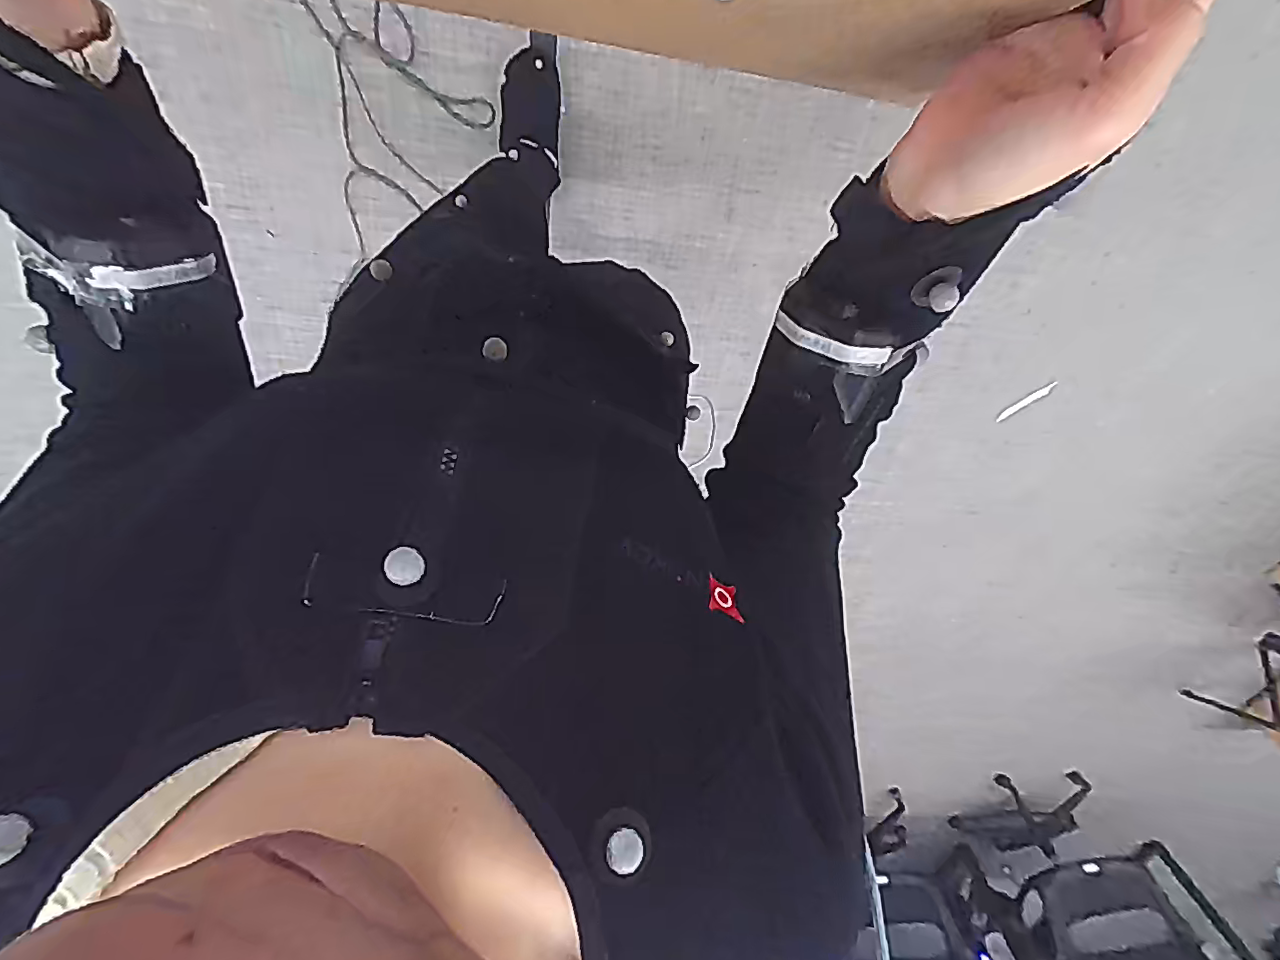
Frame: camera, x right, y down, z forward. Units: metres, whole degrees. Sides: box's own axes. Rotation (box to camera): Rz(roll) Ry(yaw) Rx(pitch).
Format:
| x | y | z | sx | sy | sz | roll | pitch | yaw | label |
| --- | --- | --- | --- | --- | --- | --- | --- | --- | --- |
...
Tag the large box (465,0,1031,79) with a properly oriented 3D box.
| x | y | z | sx | sy | sz | roll | pitch | yaw | label |
| --- | --- | --- | --- | --- | --- | --- | --- | --- | --- |
| -0.013 | -0.344 | 0.102 | 0.408 | 0.320 | 0.320 | 5 | 109 | -6 | large box |
